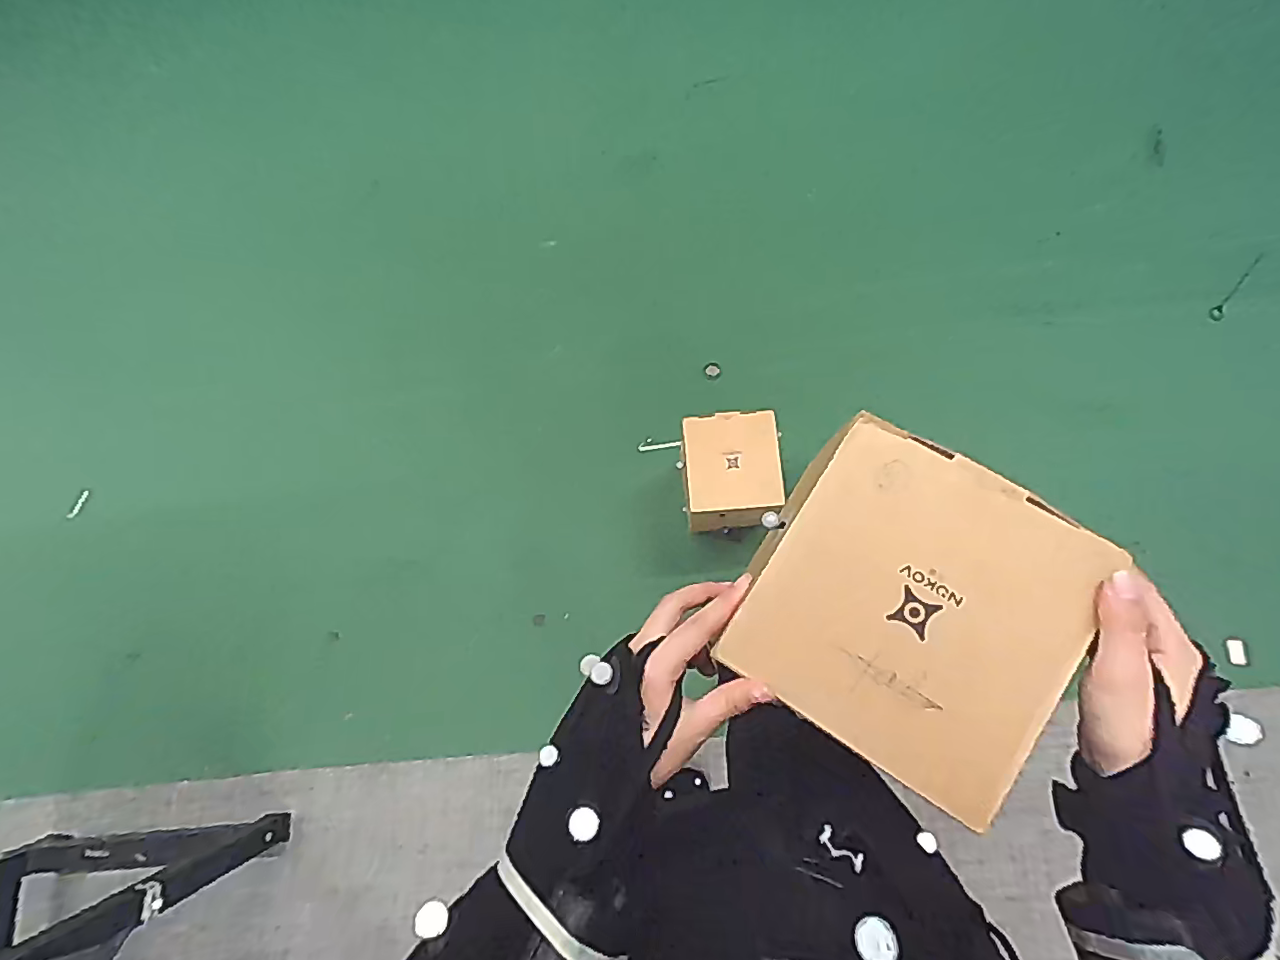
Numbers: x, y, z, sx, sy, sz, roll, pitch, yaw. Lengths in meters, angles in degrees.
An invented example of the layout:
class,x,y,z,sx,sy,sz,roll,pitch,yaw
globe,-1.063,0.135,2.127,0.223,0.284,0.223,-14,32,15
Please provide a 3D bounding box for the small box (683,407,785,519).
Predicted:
class,x,y,z,sx,sy,sz,roll,pitch,yaw
small box,0.172,-0.023,1.020,0.168,0.176,0.179,-5,77,4
